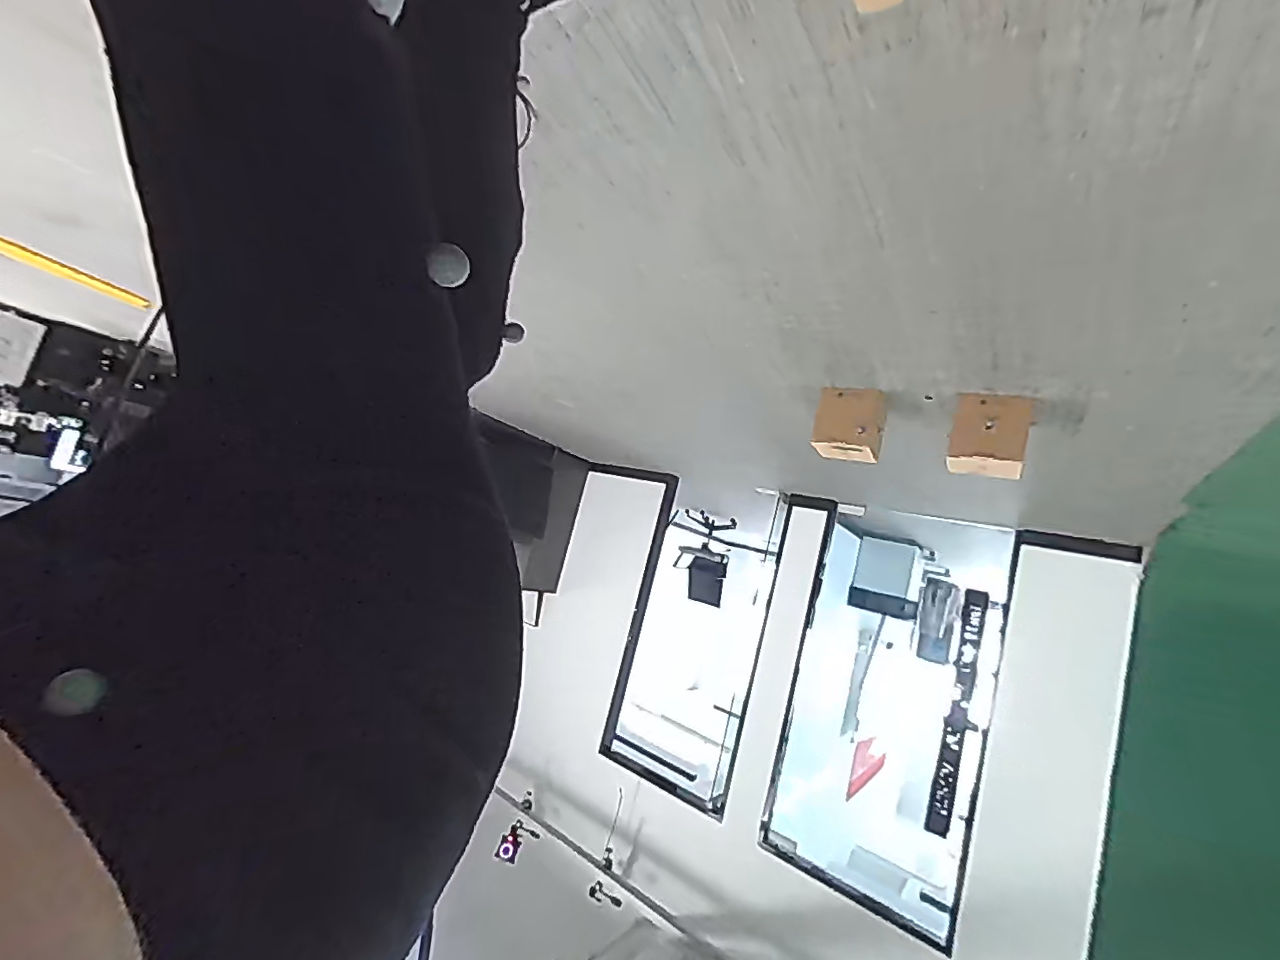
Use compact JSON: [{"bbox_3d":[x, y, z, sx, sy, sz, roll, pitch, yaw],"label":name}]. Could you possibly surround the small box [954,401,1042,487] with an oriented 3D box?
[{"bbox_3d":[0.913,-0.094,1.385,0.168,0.176,0.179,11,172,34],"label":"small box"}]
